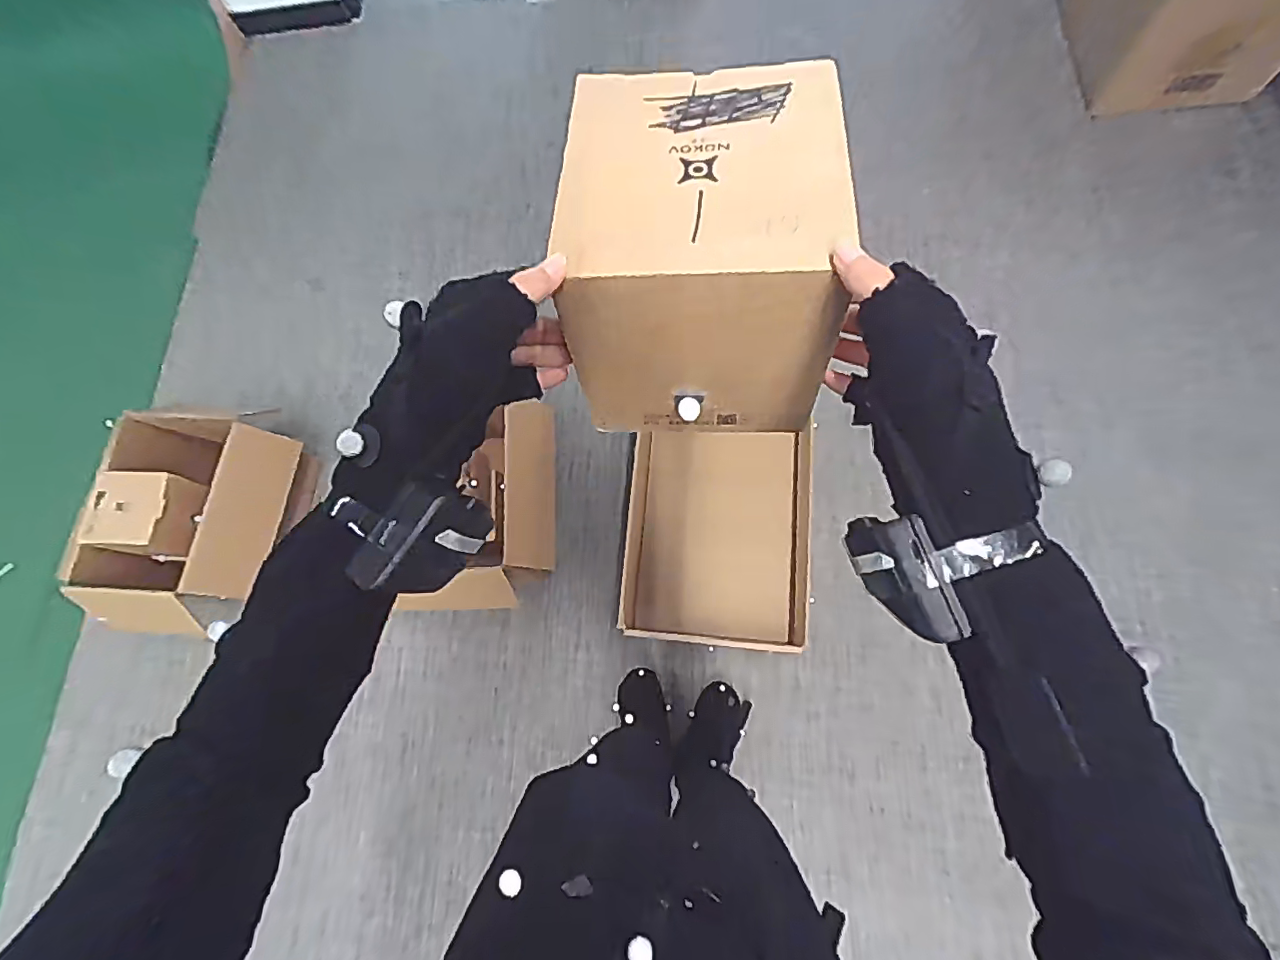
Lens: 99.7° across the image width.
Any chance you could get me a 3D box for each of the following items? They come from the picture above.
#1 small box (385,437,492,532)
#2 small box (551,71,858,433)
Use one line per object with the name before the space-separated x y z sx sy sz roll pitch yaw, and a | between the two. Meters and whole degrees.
small box | -0.435 0.018 1.191 0.168 0.176 0.179 -5 76 5
small box | 0.045 -0.152 0.392 0.168 0.176 0.179 1 66 7
